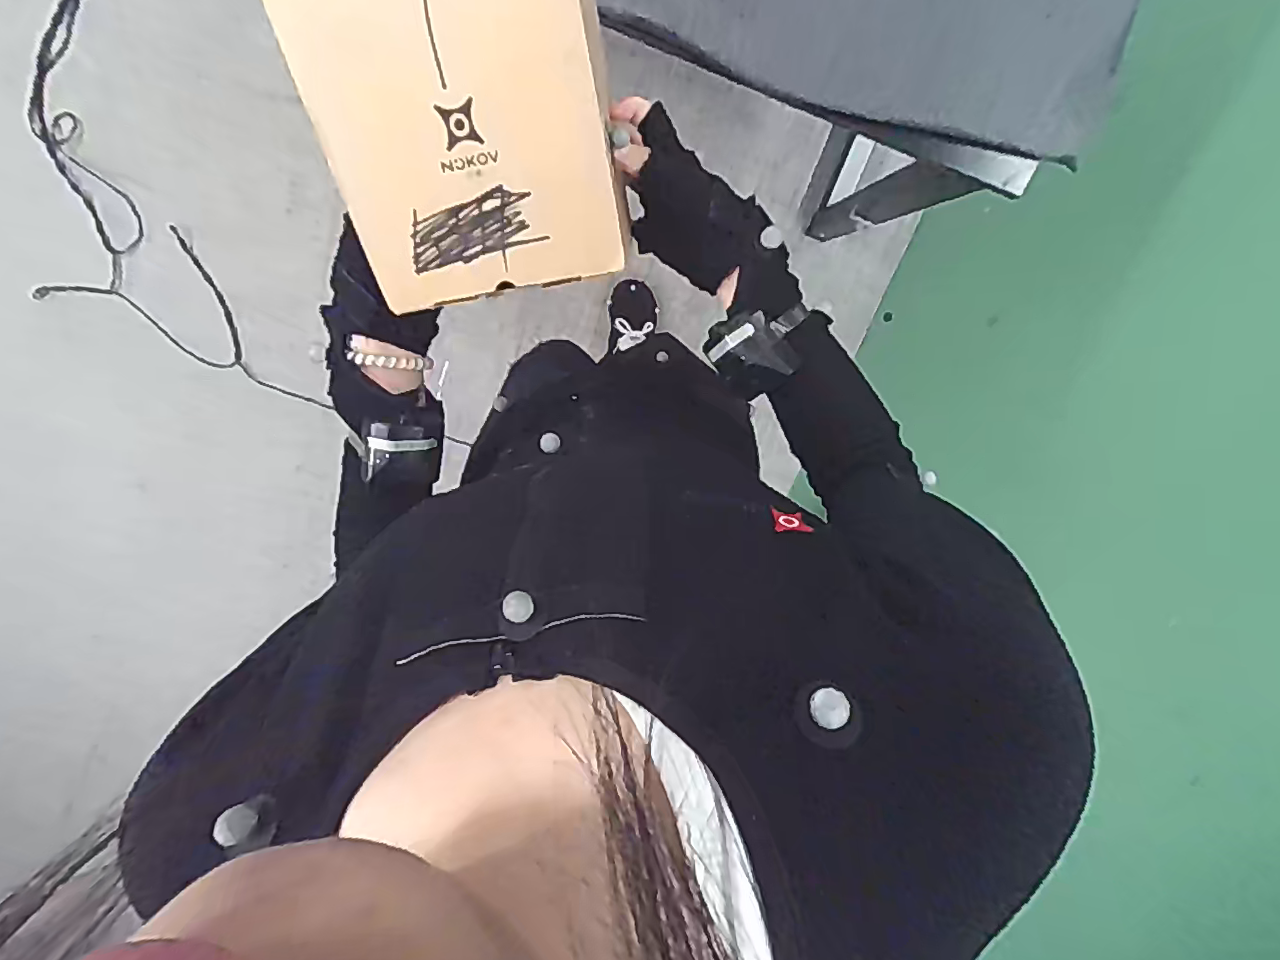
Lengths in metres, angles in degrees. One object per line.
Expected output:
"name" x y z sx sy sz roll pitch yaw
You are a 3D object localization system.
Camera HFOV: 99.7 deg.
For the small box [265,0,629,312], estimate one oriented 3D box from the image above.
"small box" -0.103 -0.239 0.384 0.168 0.176 0.179 -8 121 5
